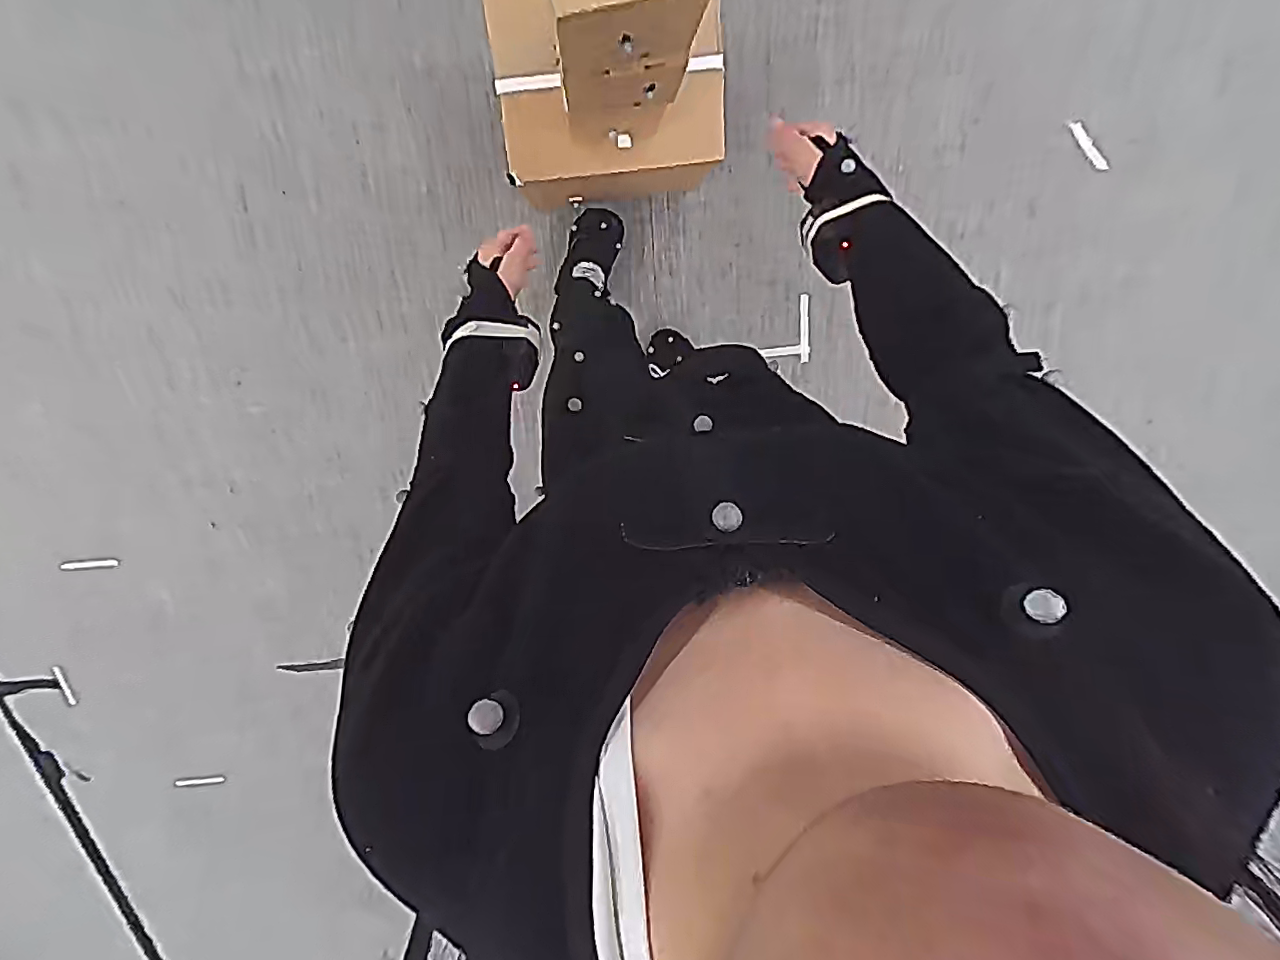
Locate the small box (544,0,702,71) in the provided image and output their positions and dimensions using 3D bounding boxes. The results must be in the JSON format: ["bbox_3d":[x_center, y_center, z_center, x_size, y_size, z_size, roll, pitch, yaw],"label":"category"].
[{"bbox_3d":[-0.027,-0.575,0.581,0.168,0.176,0.179,-13,110,-1],"label":"small box"}]

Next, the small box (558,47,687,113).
[{"bbox_3d":[-0.034,-0.626,0.738,0.168,0.176,0.179,-9,109,-2],"label":"small box"}]

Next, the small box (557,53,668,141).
[{"bbox_3d":[-0.051,-0.684,0.888,0.168,0.176,0.179,-7,110,-1],"label":"small box"}]
